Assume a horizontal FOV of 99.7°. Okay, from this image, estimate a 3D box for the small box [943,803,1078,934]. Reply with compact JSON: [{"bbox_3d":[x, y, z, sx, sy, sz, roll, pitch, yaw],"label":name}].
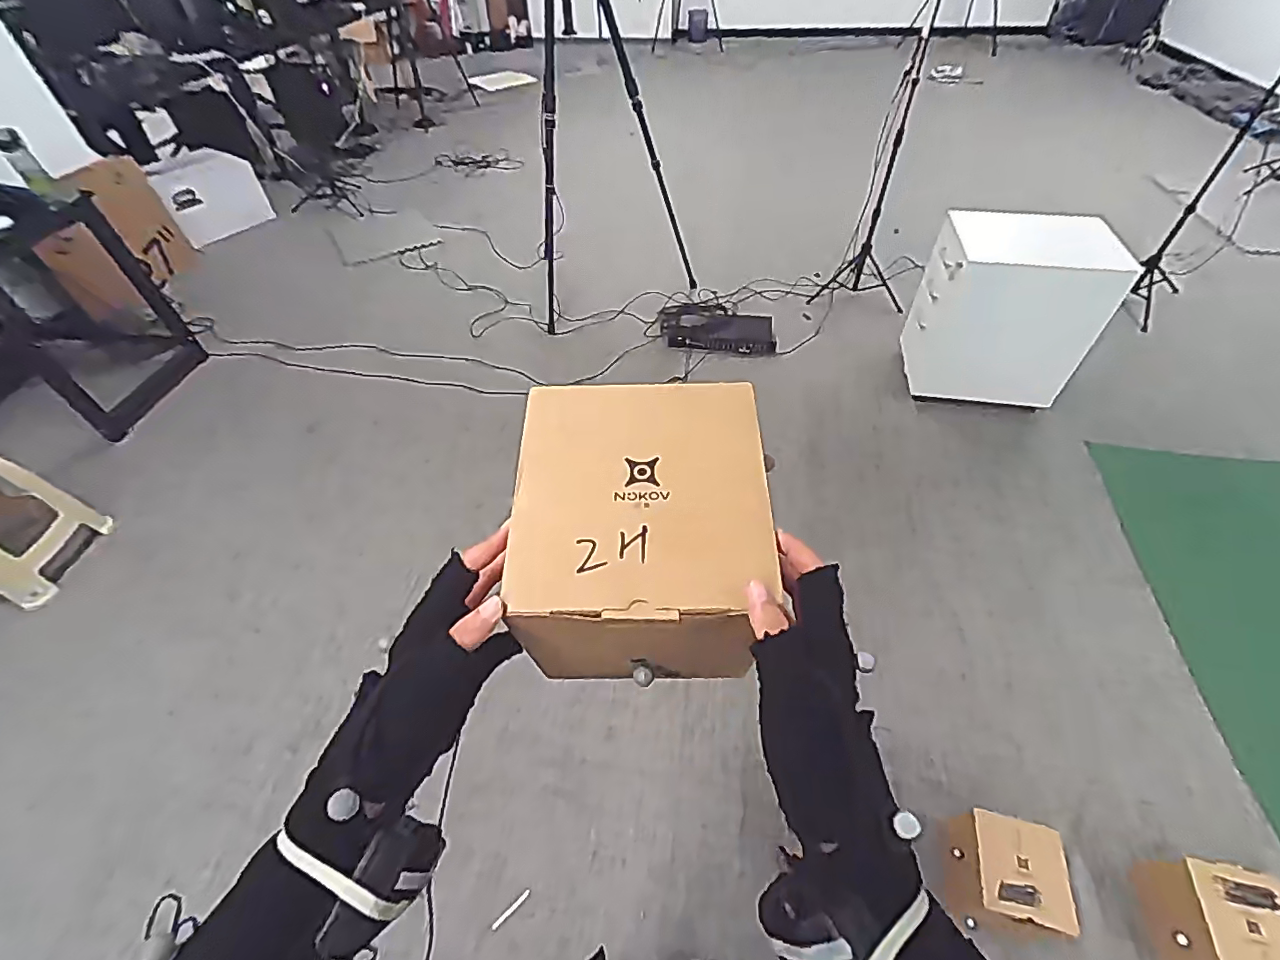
[{"bbox_3d":[0.744,0.800,1.109,0.168,0.176,0.179,11,49,11],"label":"small box"}]
